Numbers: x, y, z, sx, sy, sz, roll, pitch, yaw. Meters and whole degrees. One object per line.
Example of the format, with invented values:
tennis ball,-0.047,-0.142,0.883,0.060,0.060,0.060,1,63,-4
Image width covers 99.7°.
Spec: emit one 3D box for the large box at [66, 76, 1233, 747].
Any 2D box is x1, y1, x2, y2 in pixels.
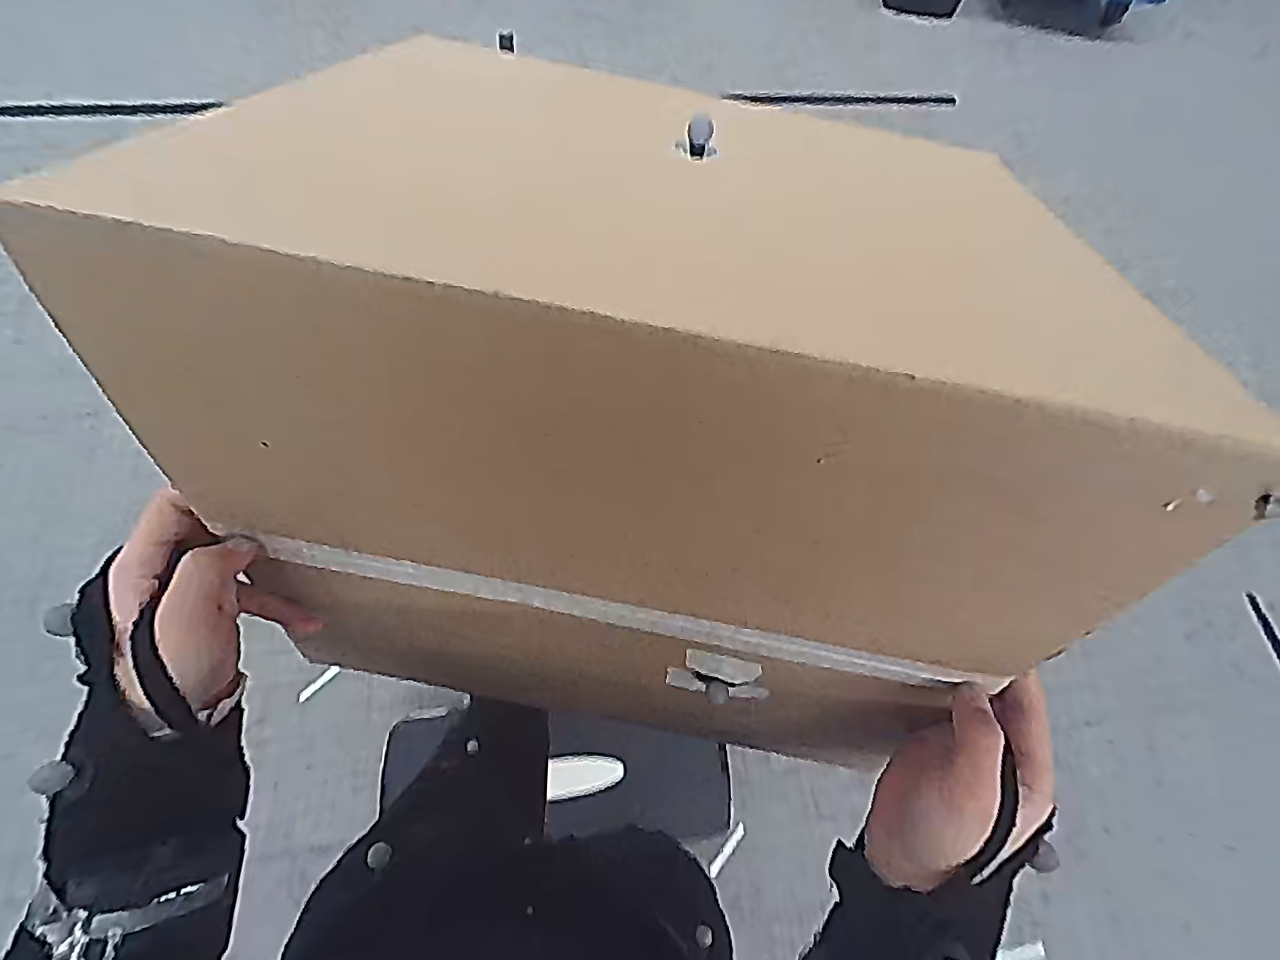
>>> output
large box,0.000,-0.051,0.388,0.408,0.320,0.320,10,47,0
